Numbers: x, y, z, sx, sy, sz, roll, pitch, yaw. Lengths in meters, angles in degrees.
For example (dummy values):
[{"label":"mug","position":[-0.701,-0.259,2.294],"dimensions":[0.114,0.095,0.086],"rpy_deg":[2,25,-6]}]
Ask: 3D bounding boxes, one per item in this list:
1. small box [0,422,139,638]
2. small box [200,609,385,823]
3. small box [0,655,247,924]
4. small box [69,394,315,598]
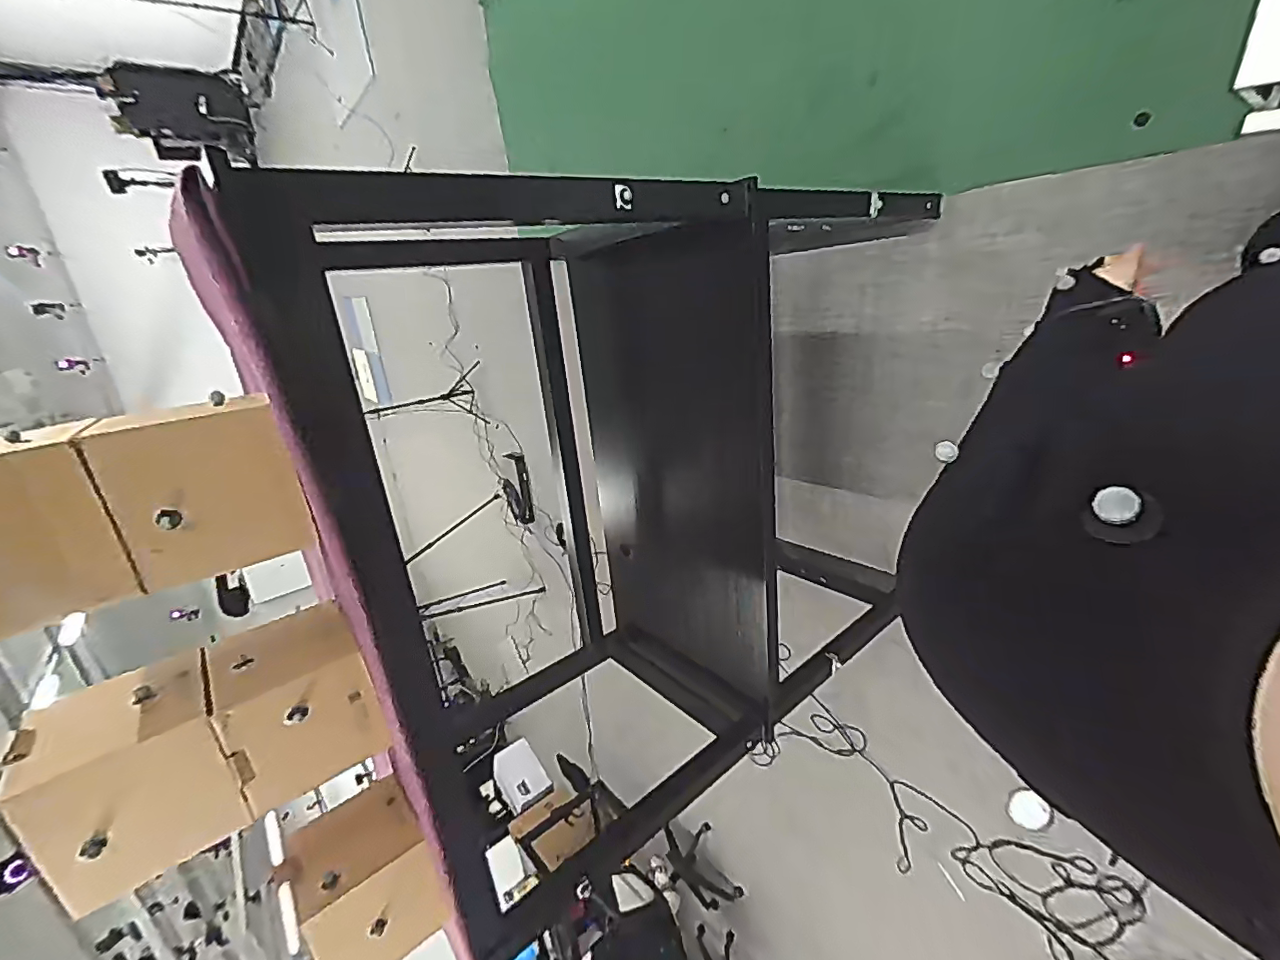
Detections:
[{"label":"small box","position":[-0.636,0.051,0.554],"dimensions":[0.168,0.176,0.179],"rpy_deg":[18,121,51]},{"label":"small box","position":[-0.463,0.300,0.733],"dimensions":[0.179,0.176,0.168],"rpy_deg":[19,120,49]},{"label":"small box","position":[-0.591,0.346,0.639],"dimensions":[0.168,0.176,0.179],"rpy_deg":[19,120,47]},{"label":"small box","position":[-0.505,0.005,0.638],"dimensions":[0.168,0.176,0.179],"rpy_deg":[18,120,51]}]
